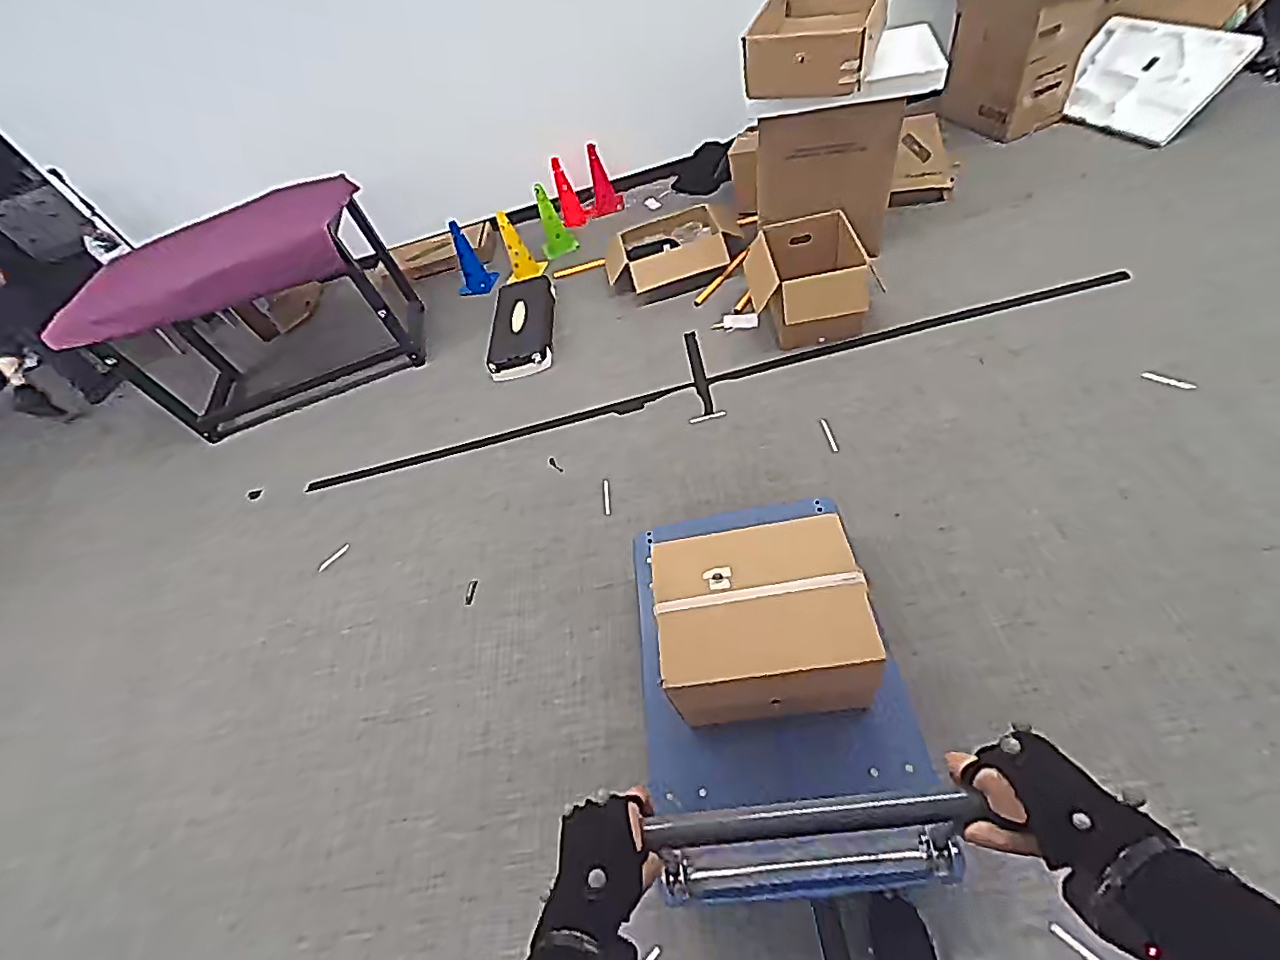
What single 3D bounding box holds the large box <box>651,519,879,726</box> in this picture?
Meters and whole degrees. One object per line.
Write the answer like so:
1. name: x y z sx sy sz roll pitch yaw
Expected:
1. large box: 0.264 0.328 1.201 0.408 0.320 0.320 -12 50 9
